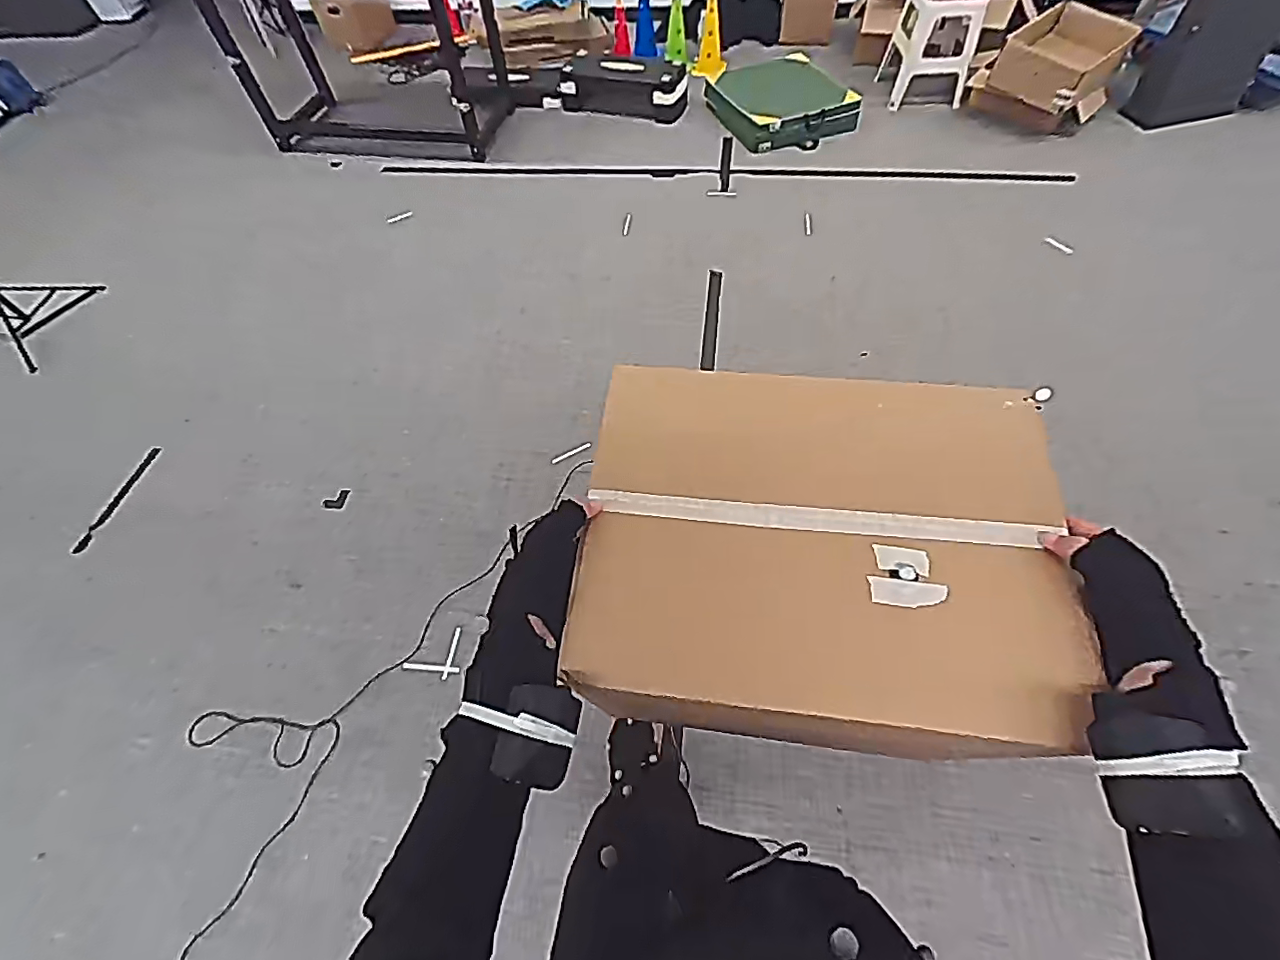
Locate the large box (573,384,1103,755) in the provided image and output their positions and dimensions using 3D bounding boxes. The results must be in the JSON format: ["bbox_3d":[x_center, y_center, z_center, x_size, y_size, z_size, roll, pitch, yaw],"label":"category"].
[{"bbox_3d":[0.163,0.115,0.609,0.408,0.320,0.320,5,63,6],"label":"large box"}]
